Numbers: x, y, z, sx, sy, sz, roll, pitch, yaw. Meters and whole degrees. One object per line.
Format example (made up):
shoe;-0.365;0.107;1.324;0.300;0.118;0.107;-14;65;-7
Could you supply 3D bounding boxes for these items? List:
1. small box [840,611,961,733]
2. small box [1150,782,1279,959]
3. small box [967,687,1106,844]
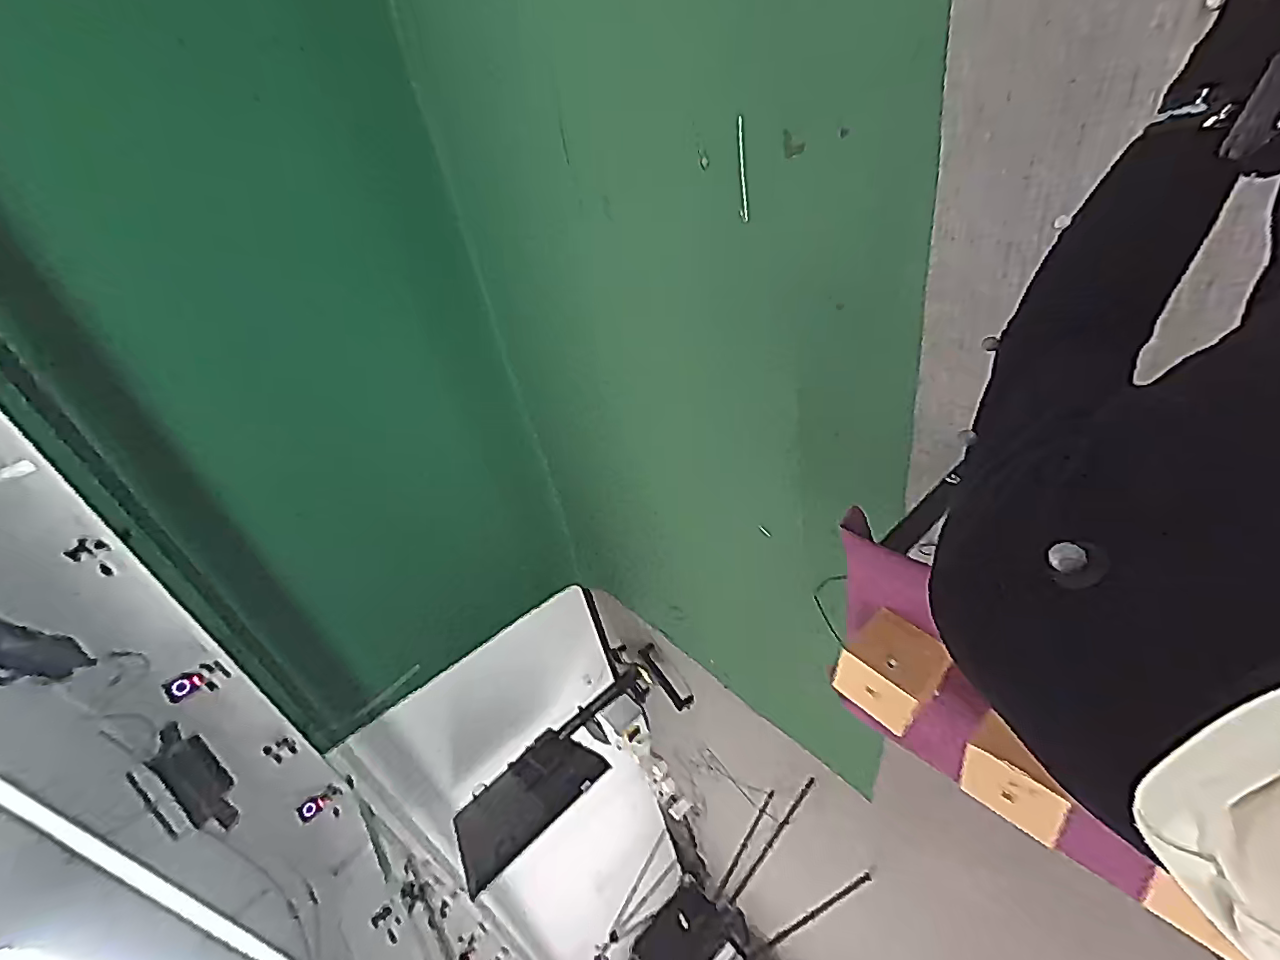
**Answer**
small box;0.596;0.431;1.248;0.179;0.176;0.168;33;144;37
small box;0.958;0.628;0.855;0.168;0.176;0.179;23;138;49
small box;0.782;0.557;1.072;0.168;0.176;0.179;25;138;46
